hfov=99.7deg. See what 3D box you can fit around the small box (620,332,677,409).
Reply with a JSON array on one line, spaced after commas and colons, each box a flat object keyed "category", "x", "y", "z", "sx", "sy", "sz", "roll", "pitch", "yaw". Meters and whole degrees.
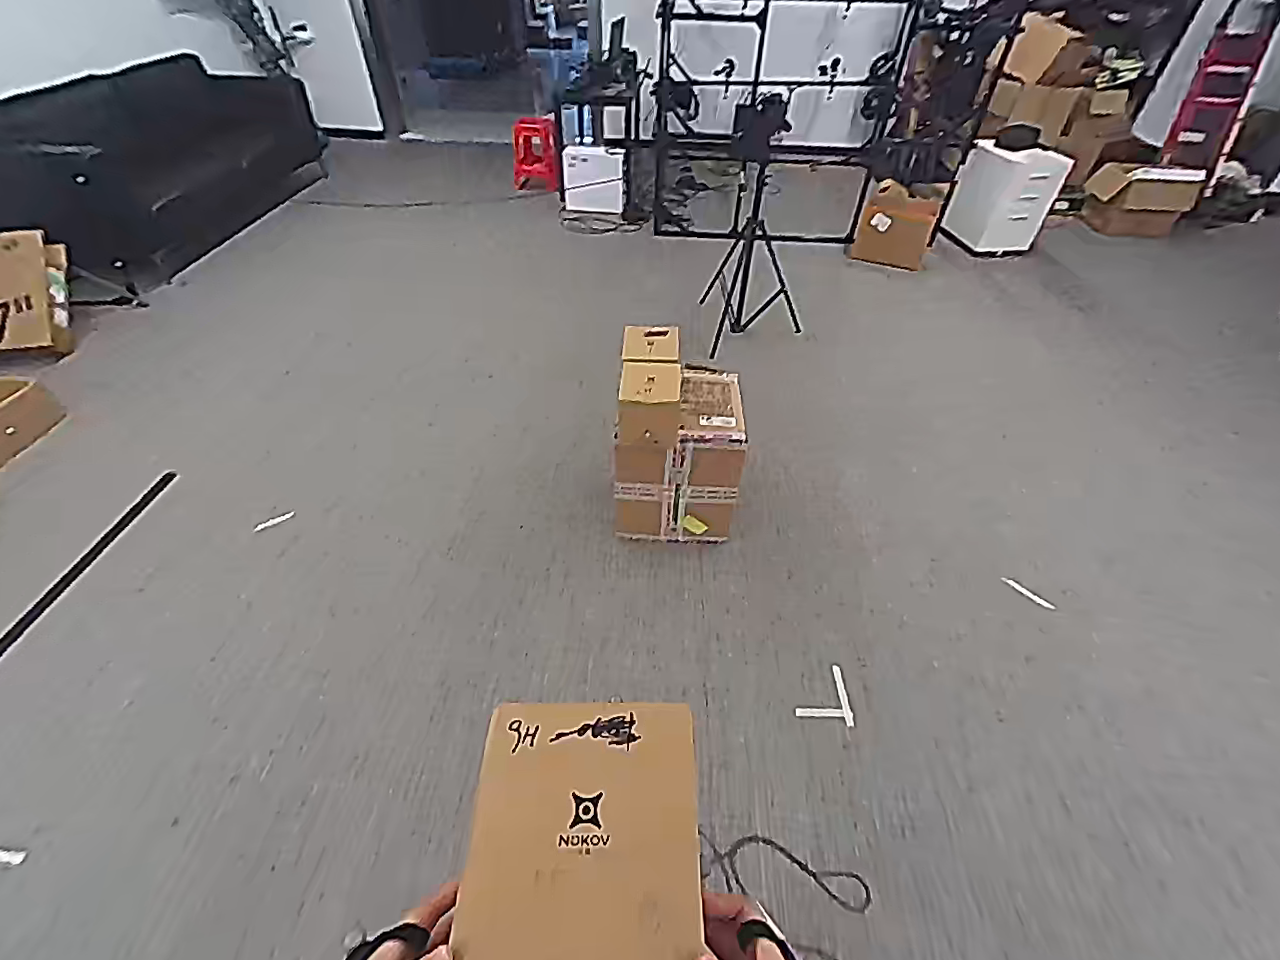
[{"category": "small box", "x": 0.029, "y": -0.339, "z": 1.672, "sx": 0.168, "sy": 0.176, "sz": 0.179, "roll": 1, "pitch": 47, "yaw": 3}]
